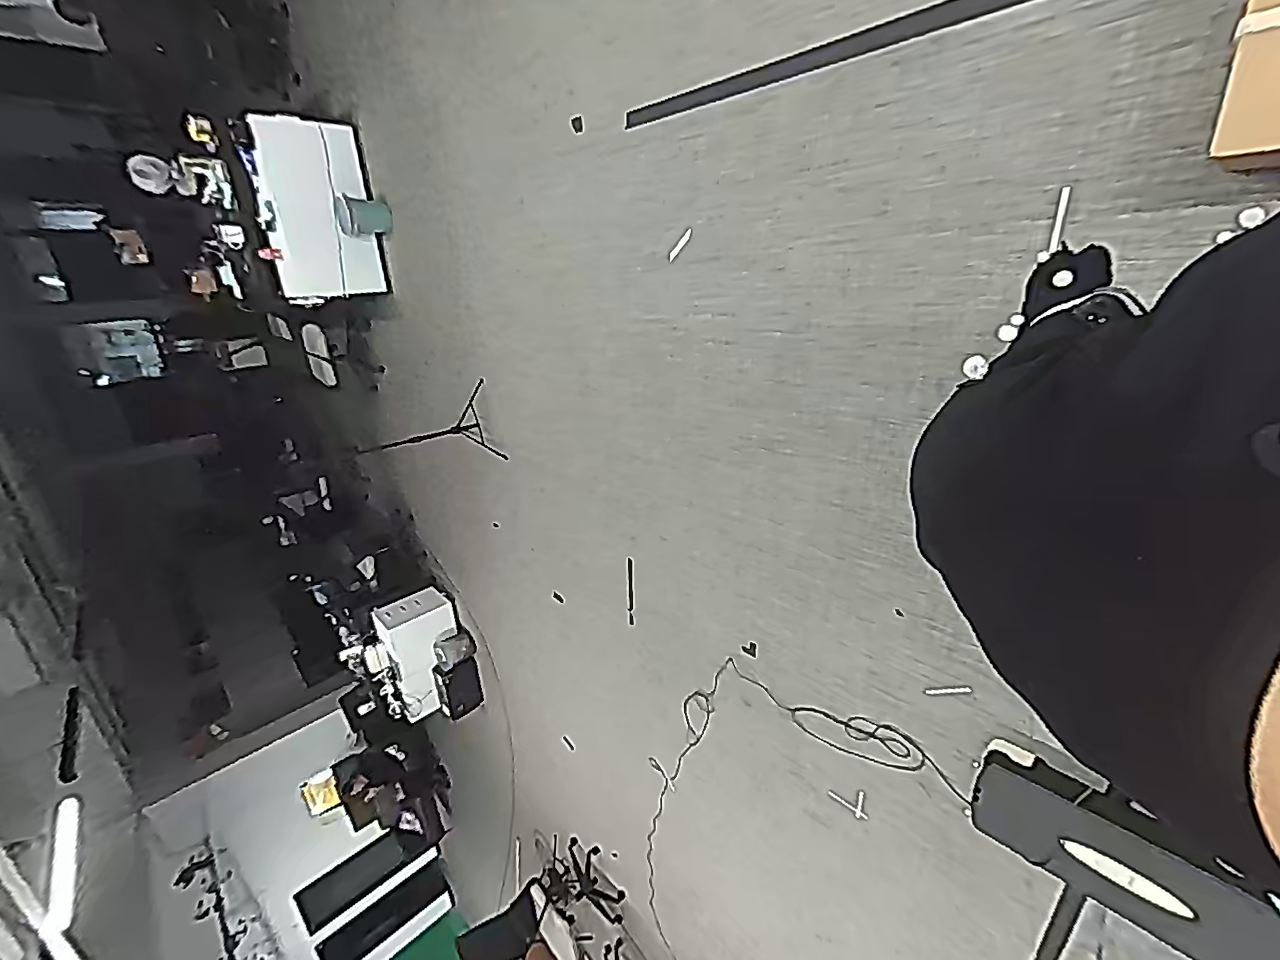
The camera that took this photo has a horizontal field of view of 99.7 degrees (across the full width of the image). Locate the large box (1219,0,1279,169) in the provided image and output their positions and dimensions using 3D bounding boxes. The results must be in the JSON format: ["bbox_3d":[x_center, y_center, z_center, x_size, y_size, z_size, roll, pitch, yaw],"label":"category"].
[{"bbox_3d":[1.047,-0.609,0.672,0.408,0.320,0.320,17,120,43],"label":"large box"}]
